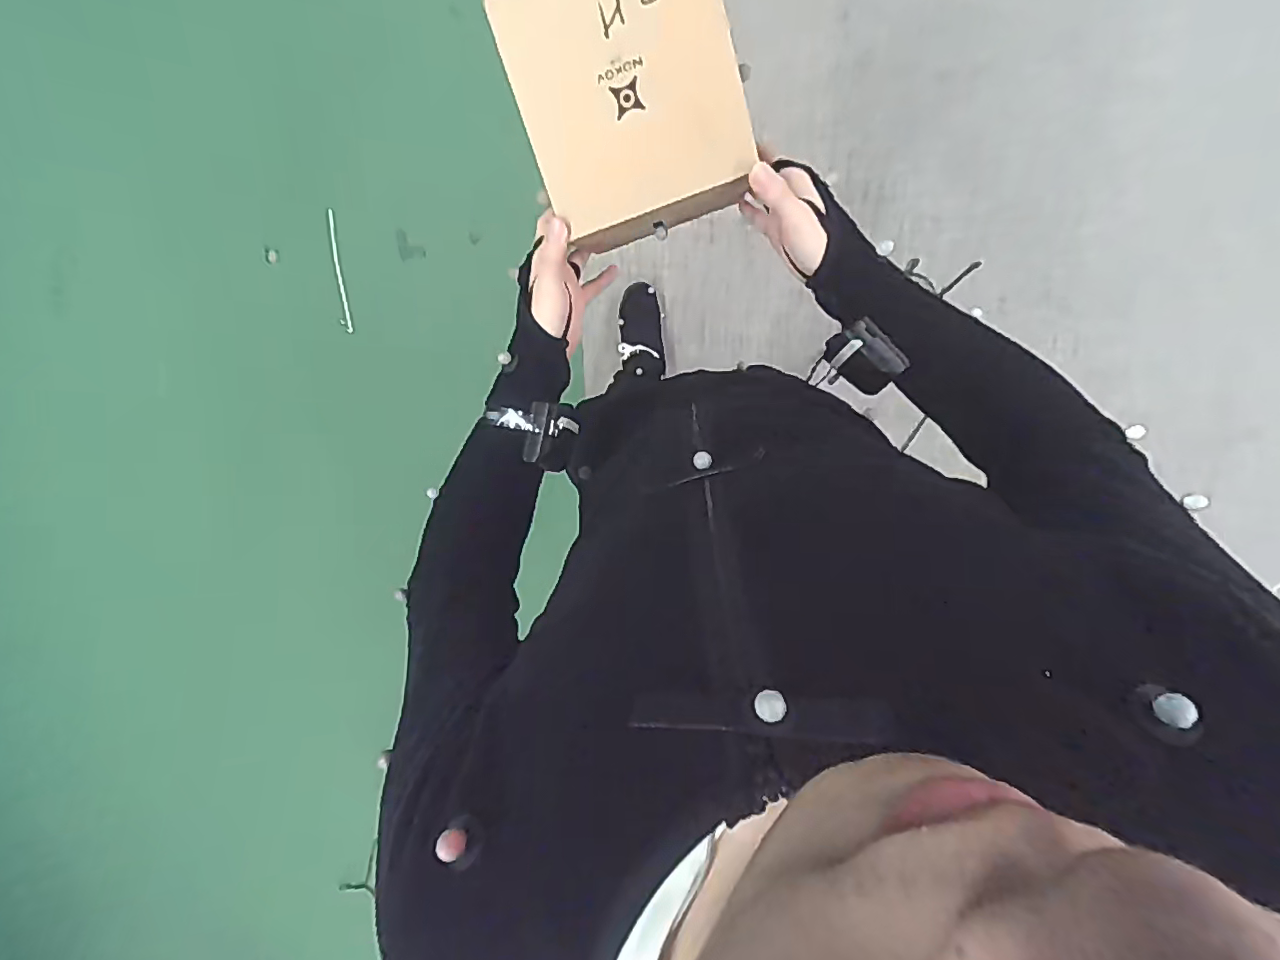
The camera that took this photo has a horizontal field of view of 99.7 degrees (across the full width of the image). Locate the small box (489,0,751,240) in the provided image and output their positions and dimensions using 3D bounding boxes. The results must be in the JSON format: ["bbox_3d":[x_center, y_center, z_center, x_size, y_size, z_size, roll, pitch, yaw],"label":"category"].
[{"bbox_3d":[-0.005,-0.328,0.483,0.168,0.176,0.179,-15,106,10],"label":"small box"}]
